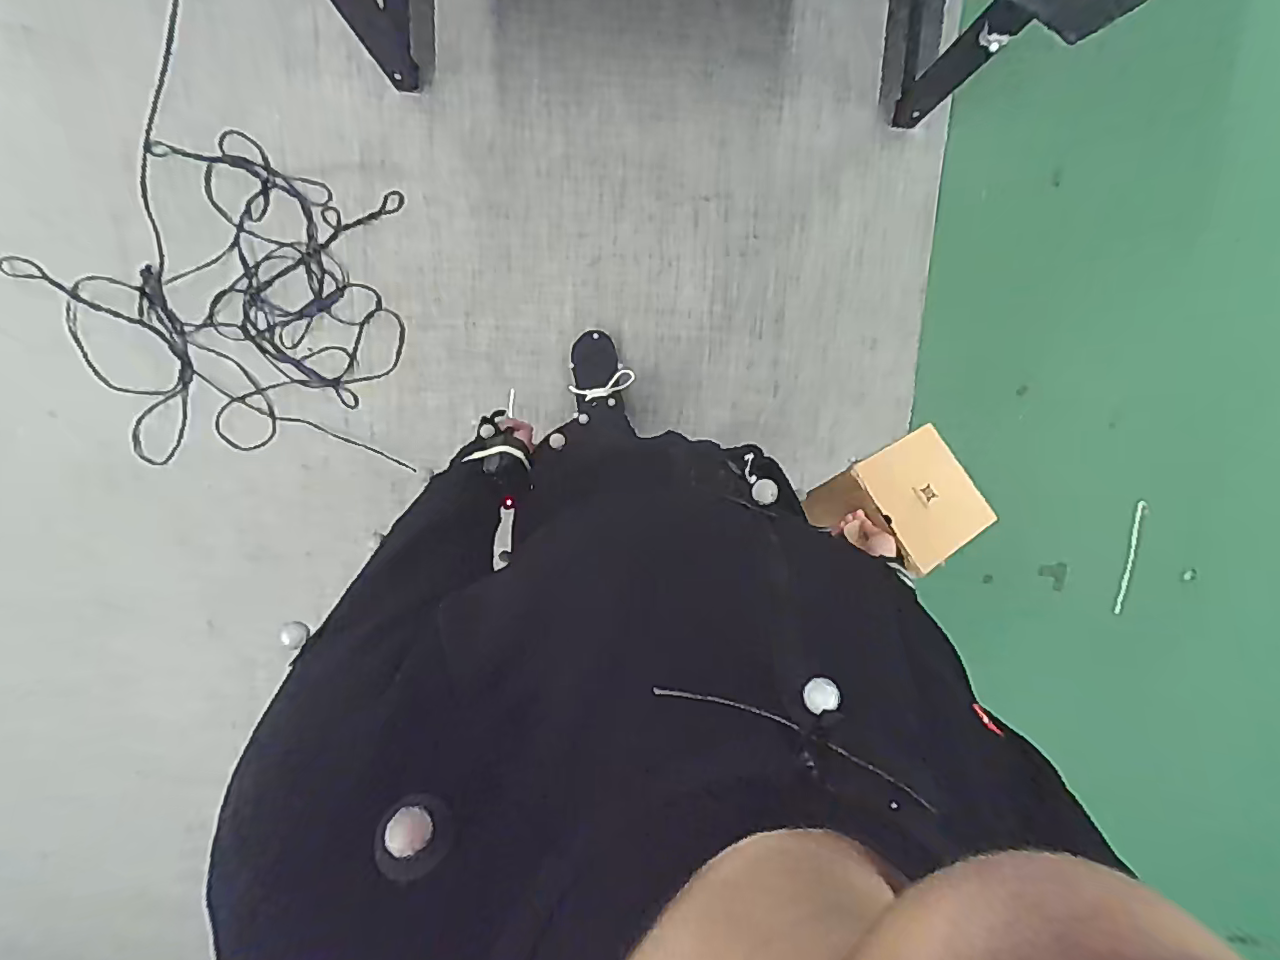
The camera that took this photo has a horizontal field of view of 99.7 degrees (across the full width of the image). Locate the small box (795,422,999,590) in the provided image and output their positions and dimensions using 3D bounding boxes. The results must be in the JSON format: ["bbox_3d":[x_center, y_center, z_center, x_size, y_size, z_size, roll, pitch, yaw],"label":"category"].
[{"bbox_3d":[0.368,0.044,0.801,0.179,0.176,0.168,-27,80,-23],"label":"small box"}]
